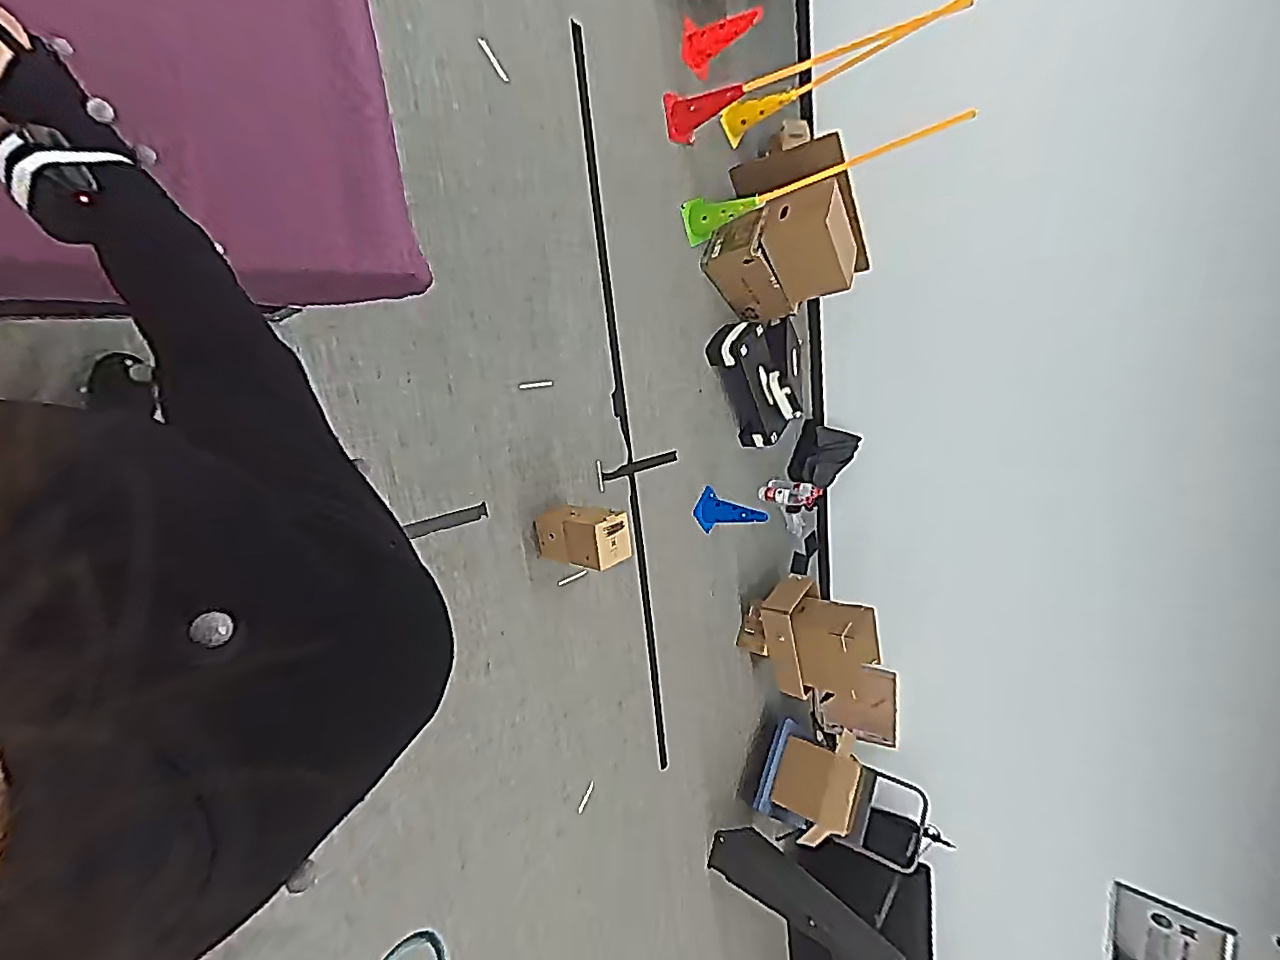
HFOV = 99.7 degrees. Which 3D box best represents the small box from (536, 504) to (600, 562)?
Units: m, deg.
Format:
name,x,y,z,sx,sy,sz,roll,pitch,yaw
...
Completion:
name,x,y,z,sx,sy,sz,roll,pitch,yaw
small box,-0.285,0.201,2.092,0.179,0.176,0.168,-25,112,-45
